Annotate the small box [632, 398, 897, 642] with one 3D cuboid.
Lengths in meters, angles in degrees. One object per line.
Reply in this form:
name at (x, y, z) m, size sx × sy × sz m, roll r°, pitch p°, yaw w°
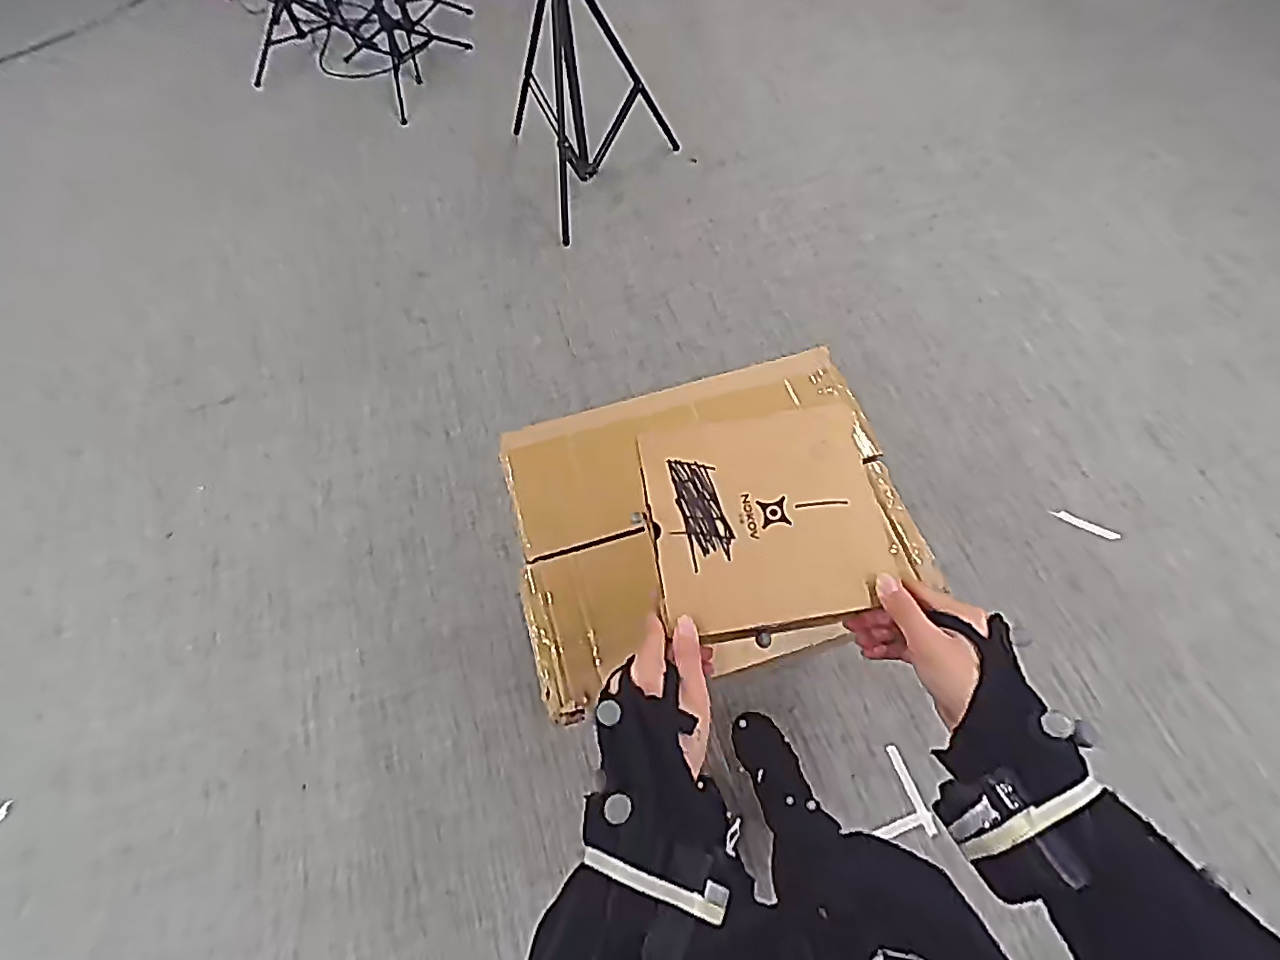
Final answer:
small box at (0.094, 0.048, 0.492) m, size 0.179 × 0.176 × 0.168 m, roll -9°, pitch 70°, yaw -2°
